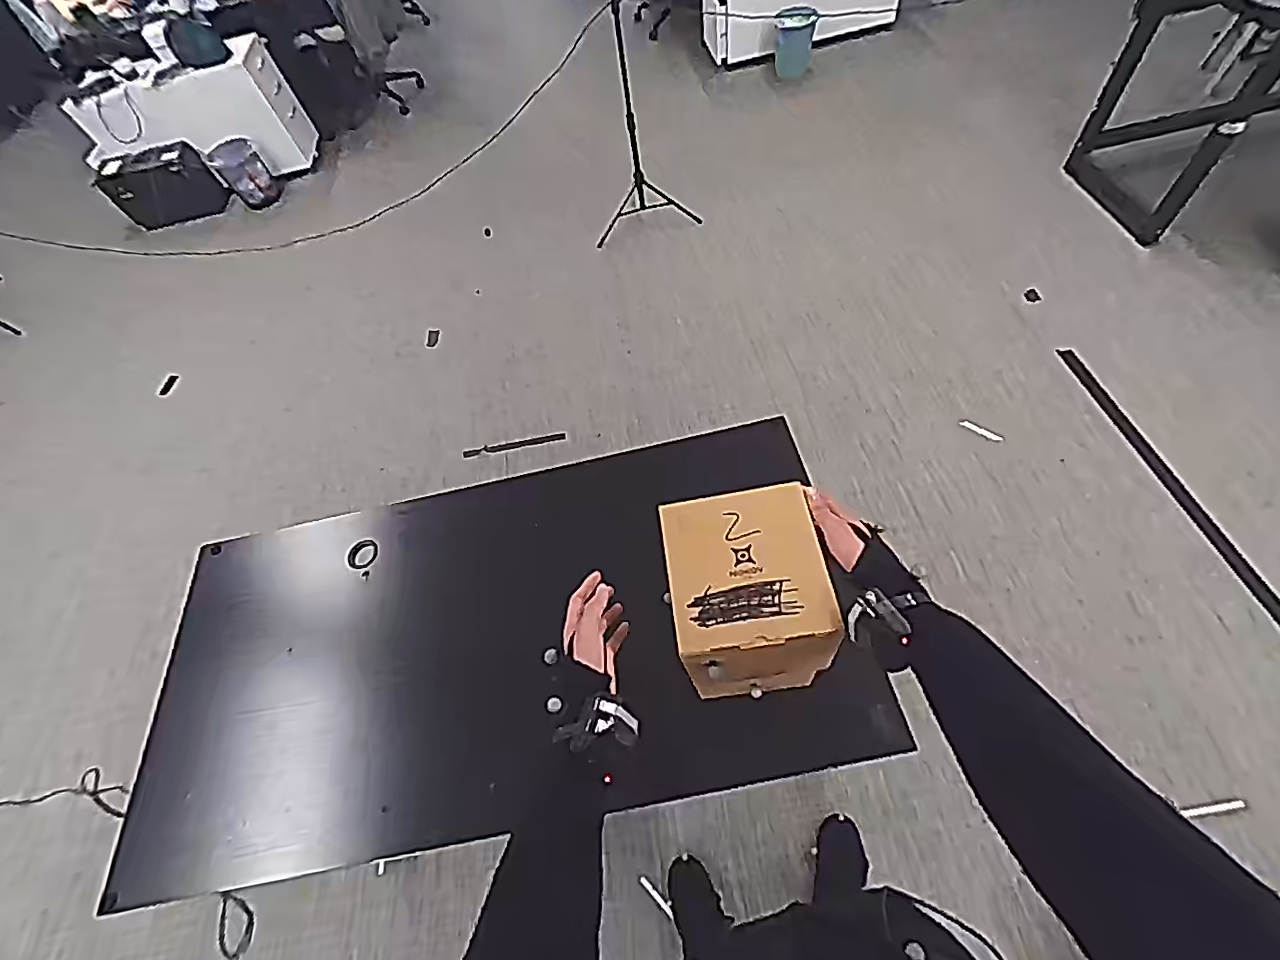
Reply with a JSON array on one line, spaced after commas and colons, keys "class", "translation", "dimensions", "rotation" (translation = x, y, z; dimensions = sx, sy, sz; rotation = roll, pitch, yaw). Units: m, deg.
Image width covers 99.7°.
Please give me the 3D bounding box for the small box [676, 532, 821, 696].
[{"class": "small box", "translation": [0.149, 0.198, 0.781], "dimensions": [0.168, 0.176, 0.179], "rotation": [-10, 58, 6]}]
